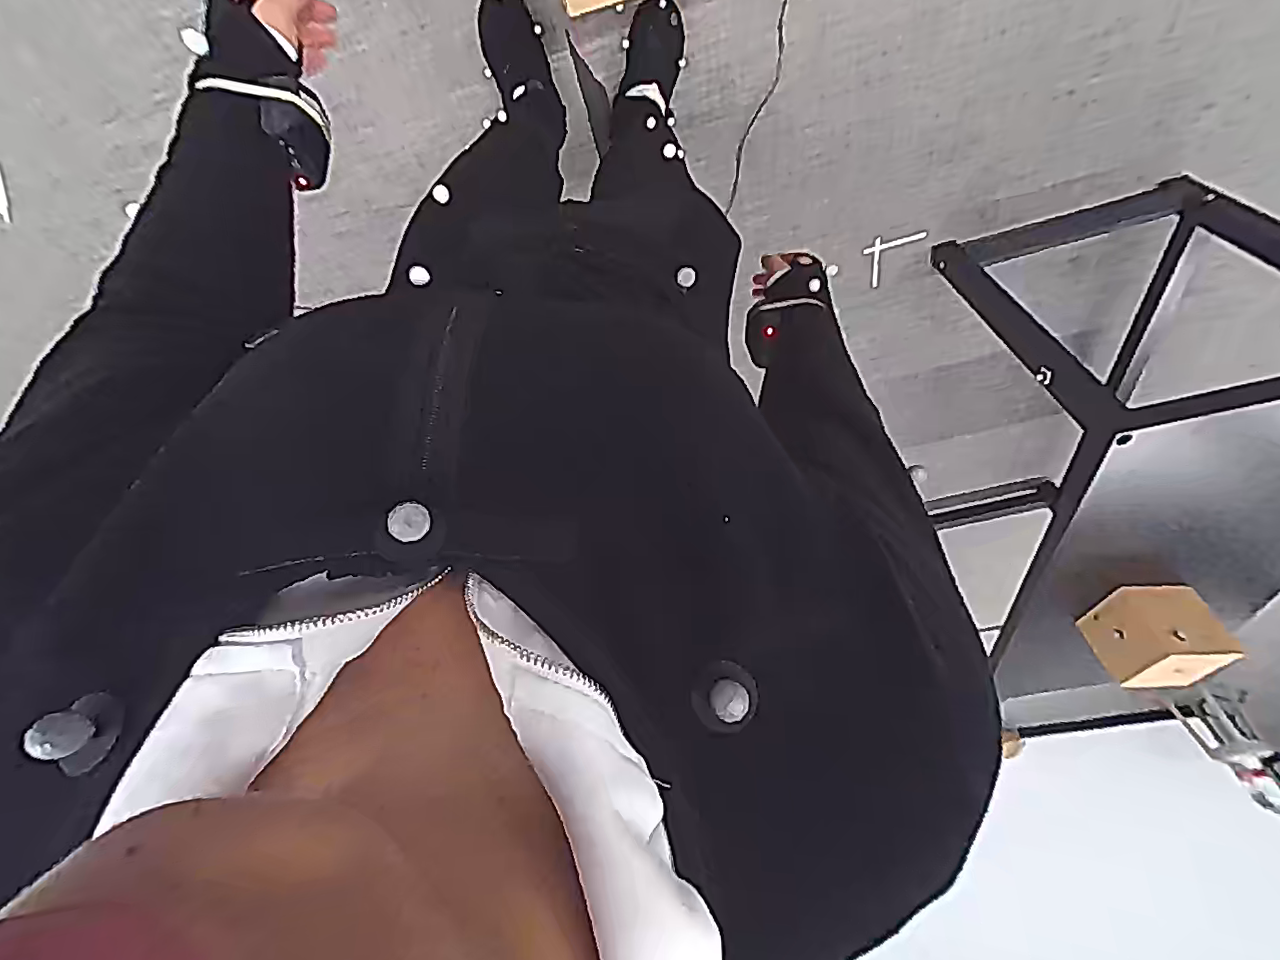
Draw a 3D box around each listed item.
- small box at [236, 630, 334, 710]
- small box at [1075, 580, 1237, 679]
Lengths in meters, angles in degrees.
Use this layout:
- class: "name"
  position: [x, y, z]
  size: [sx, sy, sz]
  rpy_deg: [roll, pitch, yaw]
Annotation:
- class: "small box"
  position: [-1.105, 0.596, 1.701]
  size: [0.179, 0.176, 0.168]
  rpy_deg: [-16, 138, 6]
- class: "small box"
  position: [1.182, 0.346, 1.259]
  size: [0.179, 0.176, 0.168]
  rpy_deg: [-1, 137, -5]
